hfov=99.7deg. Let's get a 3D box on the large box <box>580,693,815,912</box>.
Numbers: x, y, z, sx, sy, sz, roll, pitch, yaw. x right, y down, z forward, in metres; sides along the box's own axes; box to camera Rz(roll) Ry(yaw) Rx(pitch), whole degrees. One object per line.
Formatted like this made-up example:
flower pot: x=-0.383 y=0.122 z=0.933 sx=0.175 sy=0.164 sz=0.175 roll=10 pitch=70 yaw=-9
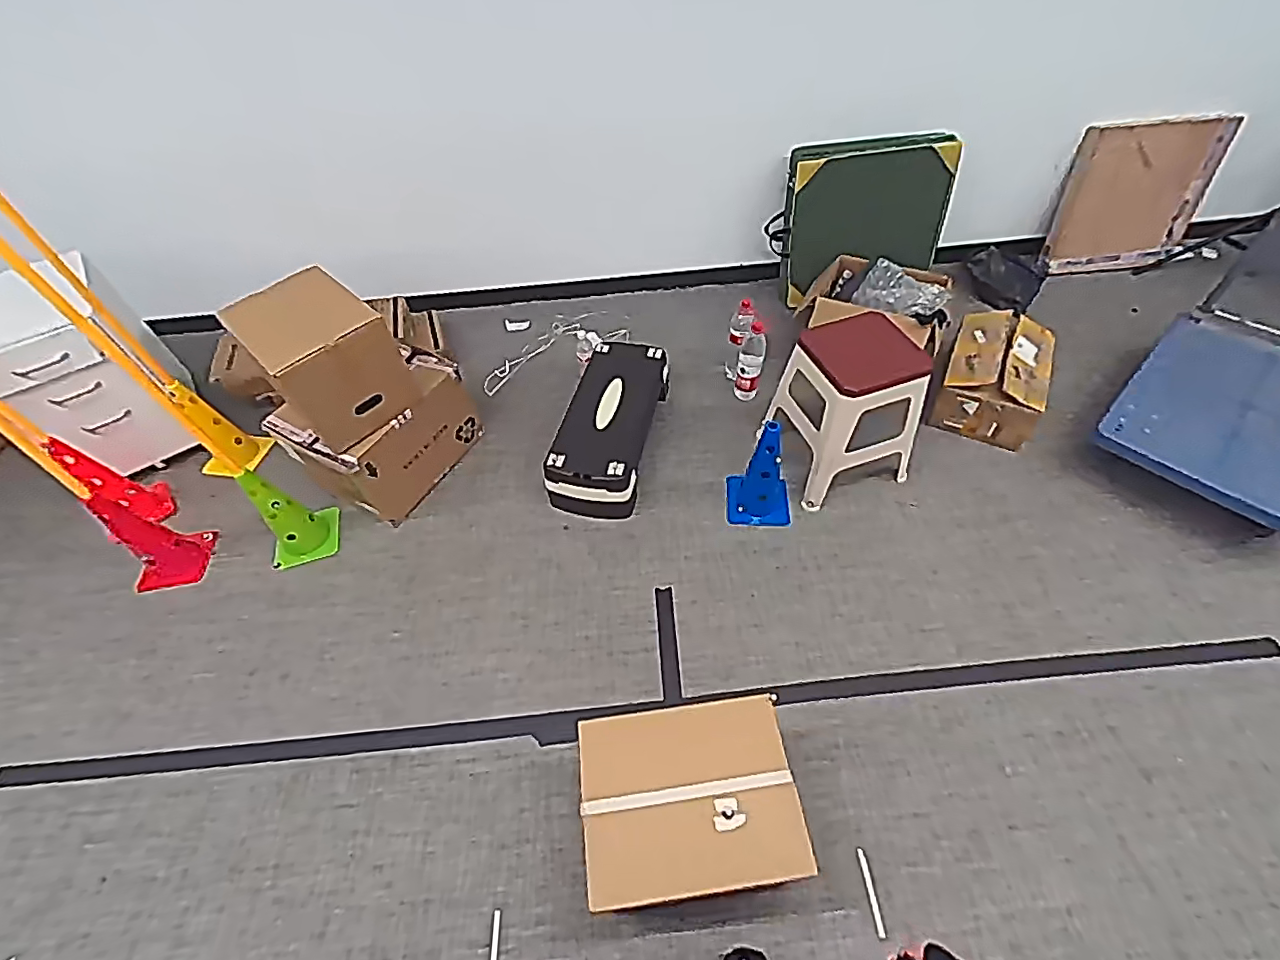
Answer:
large box: x=0.097 y=0.686 z=1.144 sx=0.408 sy=0.320 sz=0.320 roll=-7 pitch=52 yaw=-3
